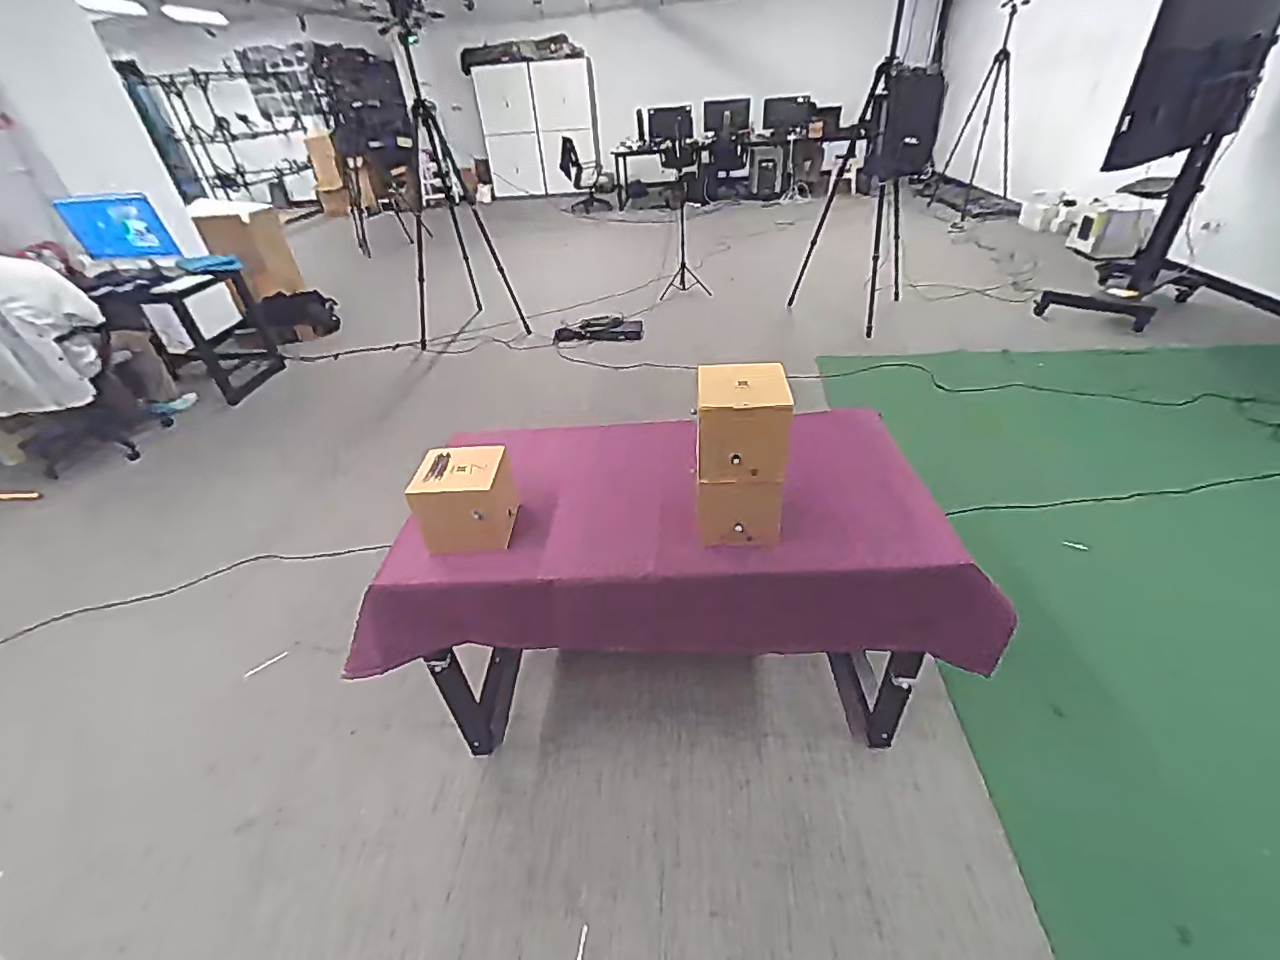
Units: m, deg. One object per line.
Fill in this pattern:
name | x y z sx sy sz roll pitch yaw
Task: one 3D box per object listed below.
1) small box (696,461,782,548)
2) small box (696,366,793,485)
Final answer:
small box | 0.202 0.024 1.145 0.168 0.176 0.179 -1 37 6
small box | 0.194 -0.108 1.049 0.168 0.176 0.179 0 37 5
